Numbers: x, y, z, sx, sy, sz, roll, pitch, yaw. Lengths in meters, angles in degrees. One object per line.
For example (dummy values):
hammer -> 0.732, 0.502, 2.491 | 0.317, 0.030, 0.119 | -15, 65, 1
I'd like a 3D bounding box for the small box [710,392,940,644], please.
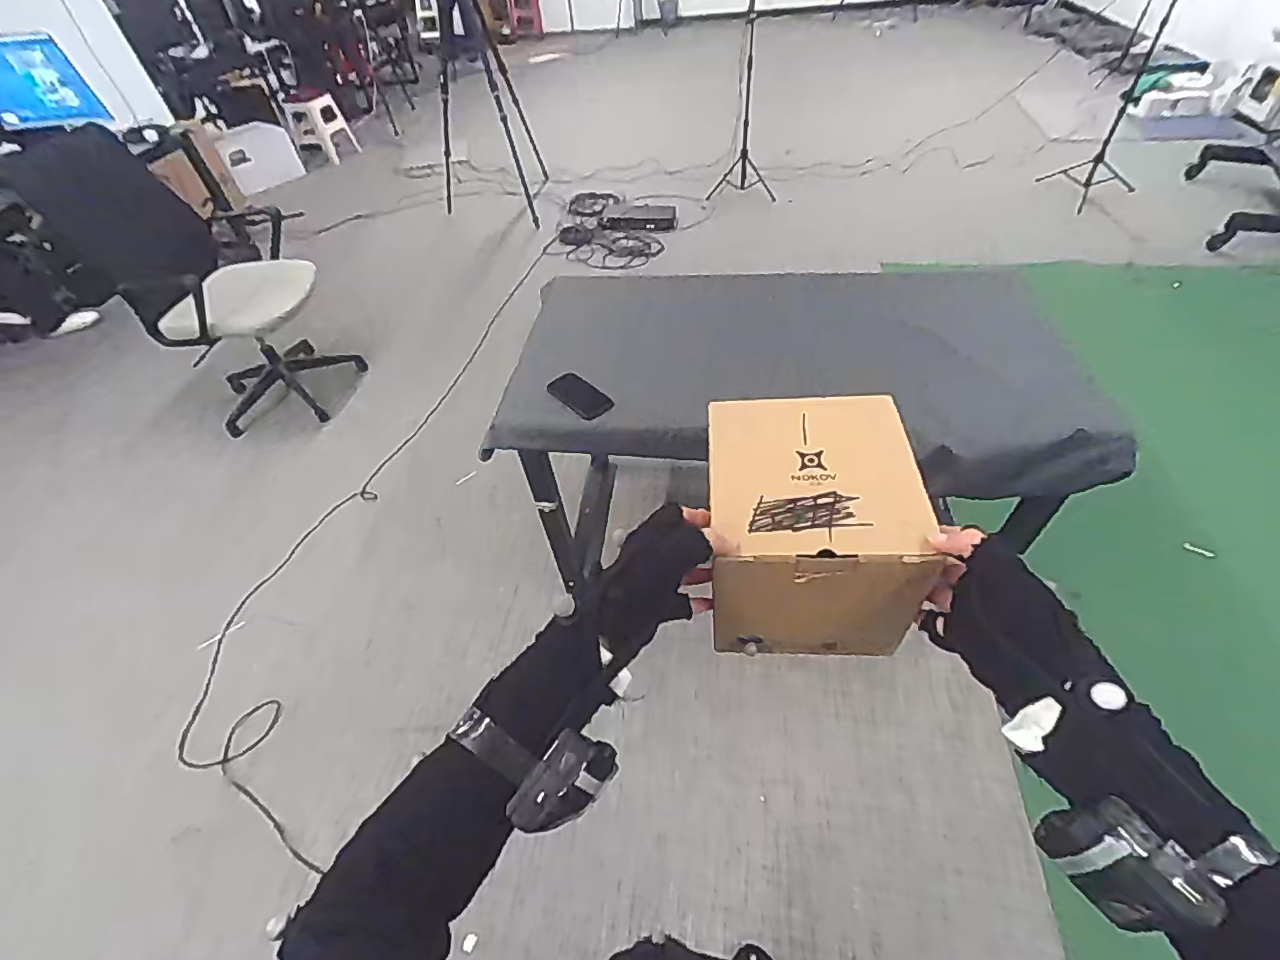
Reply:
small box -> 0.151, 0.040, 0.508 | 0.168, 0.176, 0.179 | -1, 48, 7
